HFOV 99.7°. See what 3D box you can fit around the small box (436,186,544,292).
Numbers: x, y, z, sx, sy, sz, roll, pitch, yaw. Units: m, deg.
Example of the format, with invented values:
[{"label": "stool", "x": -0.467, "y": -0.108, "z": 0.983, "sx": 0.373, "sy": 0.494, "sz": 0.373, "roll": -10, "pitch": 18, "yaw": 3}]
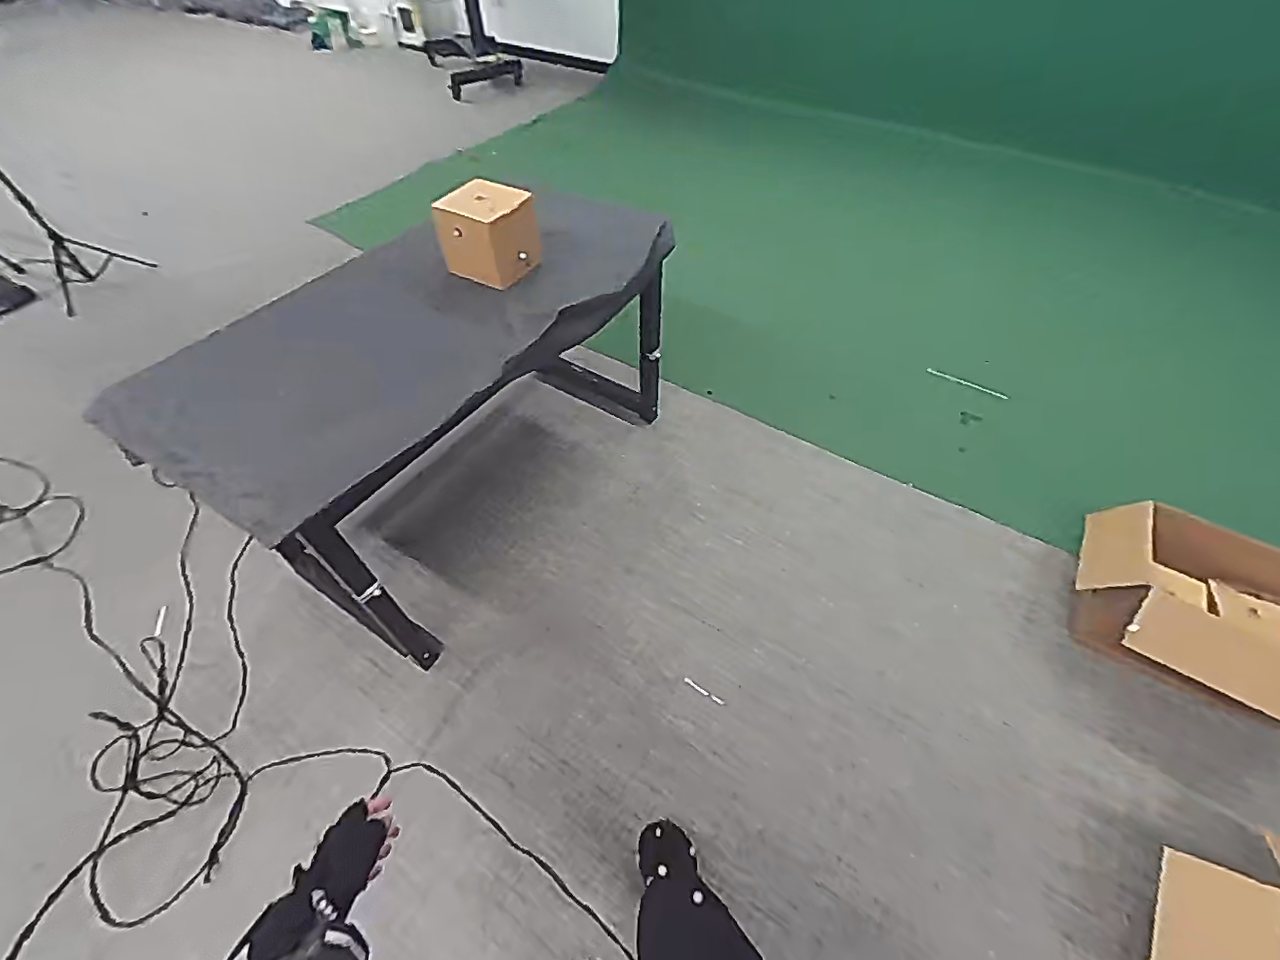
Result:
[{"label": "small box", "x": -0.359, "y": -0.587, "z": 1.323, "sx": 0.179, "sy": 0.176, "sz": 0.168, "roll": 25, "pitch": 56, "yaw": 19}]
